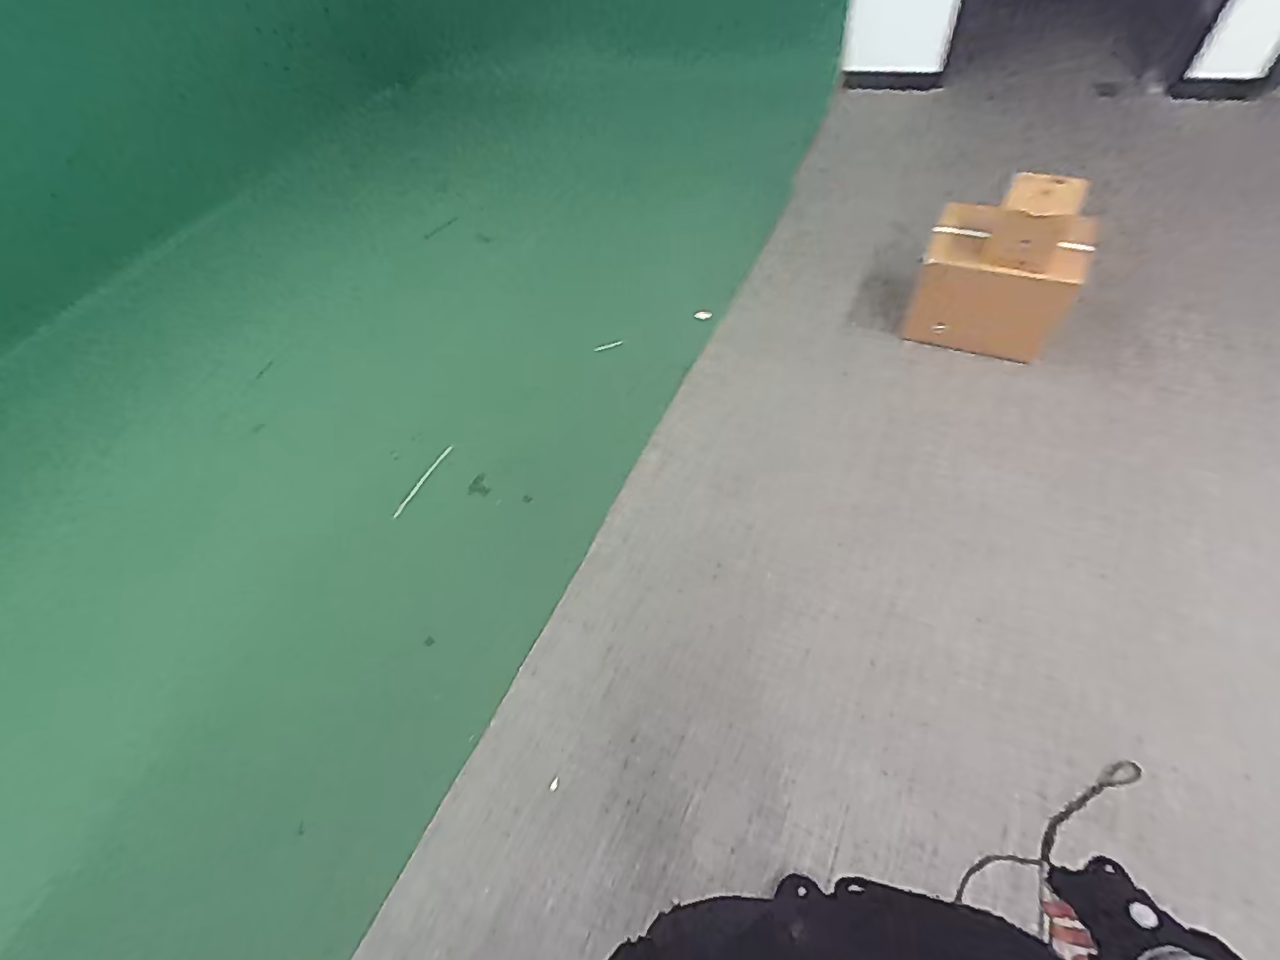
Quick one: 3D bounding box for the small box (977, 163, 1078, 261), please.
[{"bbox_3d":[1.052,-0.731,1.481,0.168,0.176,0.179,21,66,23],"label":"small box"}]
